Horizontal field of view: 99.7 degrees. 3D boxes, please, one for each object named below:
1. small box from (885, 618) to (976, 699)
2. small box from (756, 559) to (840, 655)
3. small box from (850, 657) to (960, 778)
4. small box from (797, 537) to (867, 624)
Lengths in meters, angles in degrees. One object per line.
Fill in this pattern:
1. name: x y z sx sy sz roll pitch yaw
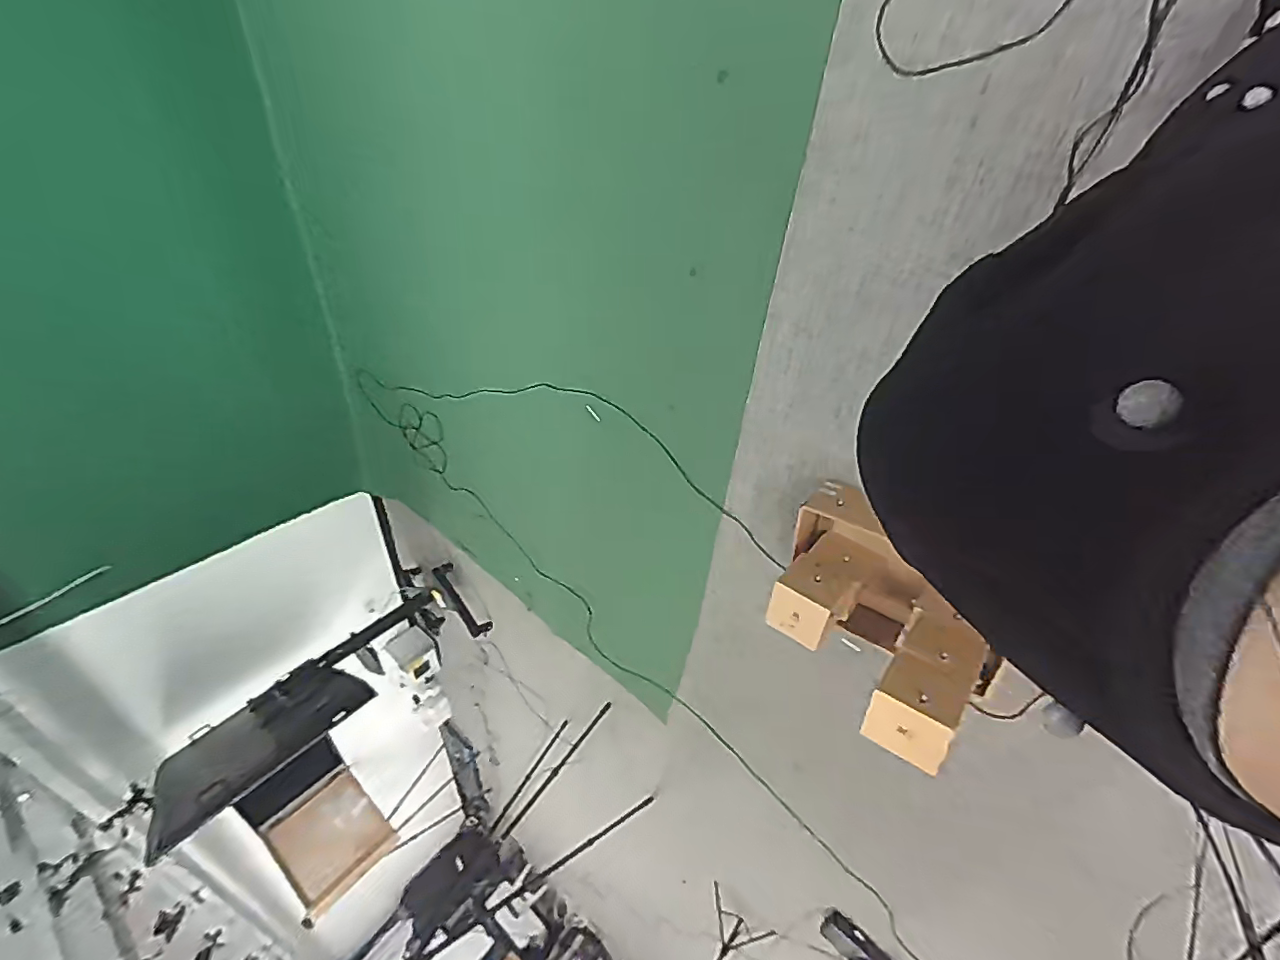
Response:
1. small box: 0.737 0.491 1.402 0.179 0.176 0.168 28 129 30
2. small box: 0.464 0.363 1.579 0.168 0.176 0.179 28 131 30
3. small box: 0.634 0.554 1.293 0.179 0.176 0.168 23 126 32
4. small box: 0.579 0.304 1.683 0.179 0.176 0.168 27 130 29
